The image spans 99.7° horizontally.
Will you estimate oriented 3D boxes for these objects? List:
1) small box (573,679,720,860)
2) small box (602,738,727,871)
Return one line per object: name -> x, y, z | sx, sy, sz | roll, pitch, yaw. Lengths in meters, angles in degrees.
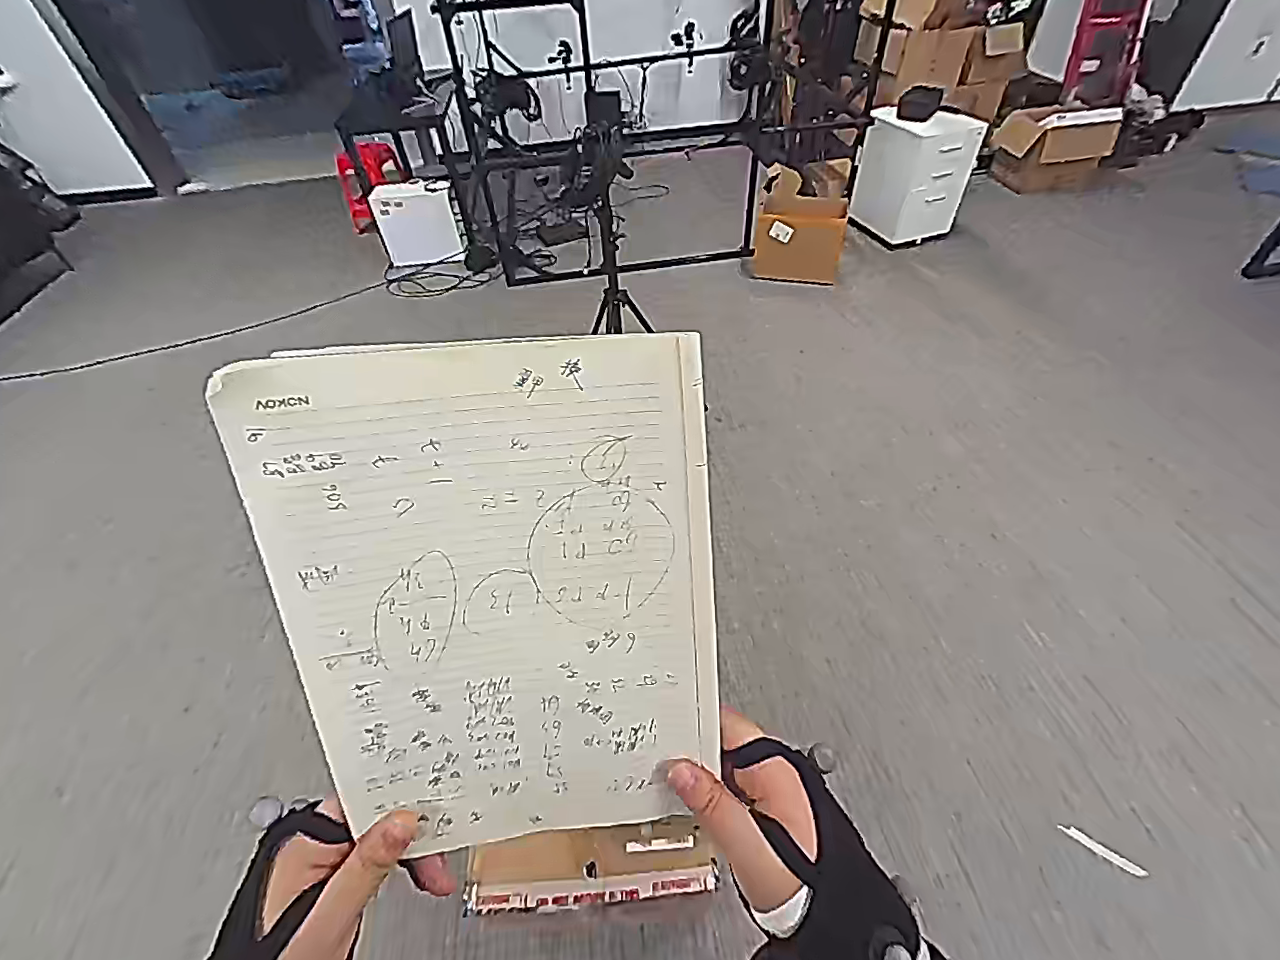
small box -> 0.004, 0.380, 0.709 | 0.168, 0.176, 0.179 | -2, 49, -1
small box -> 0.025, 0.487, 0.834 | 0.179, 0.176, 0.168 | -5, 48, -3
